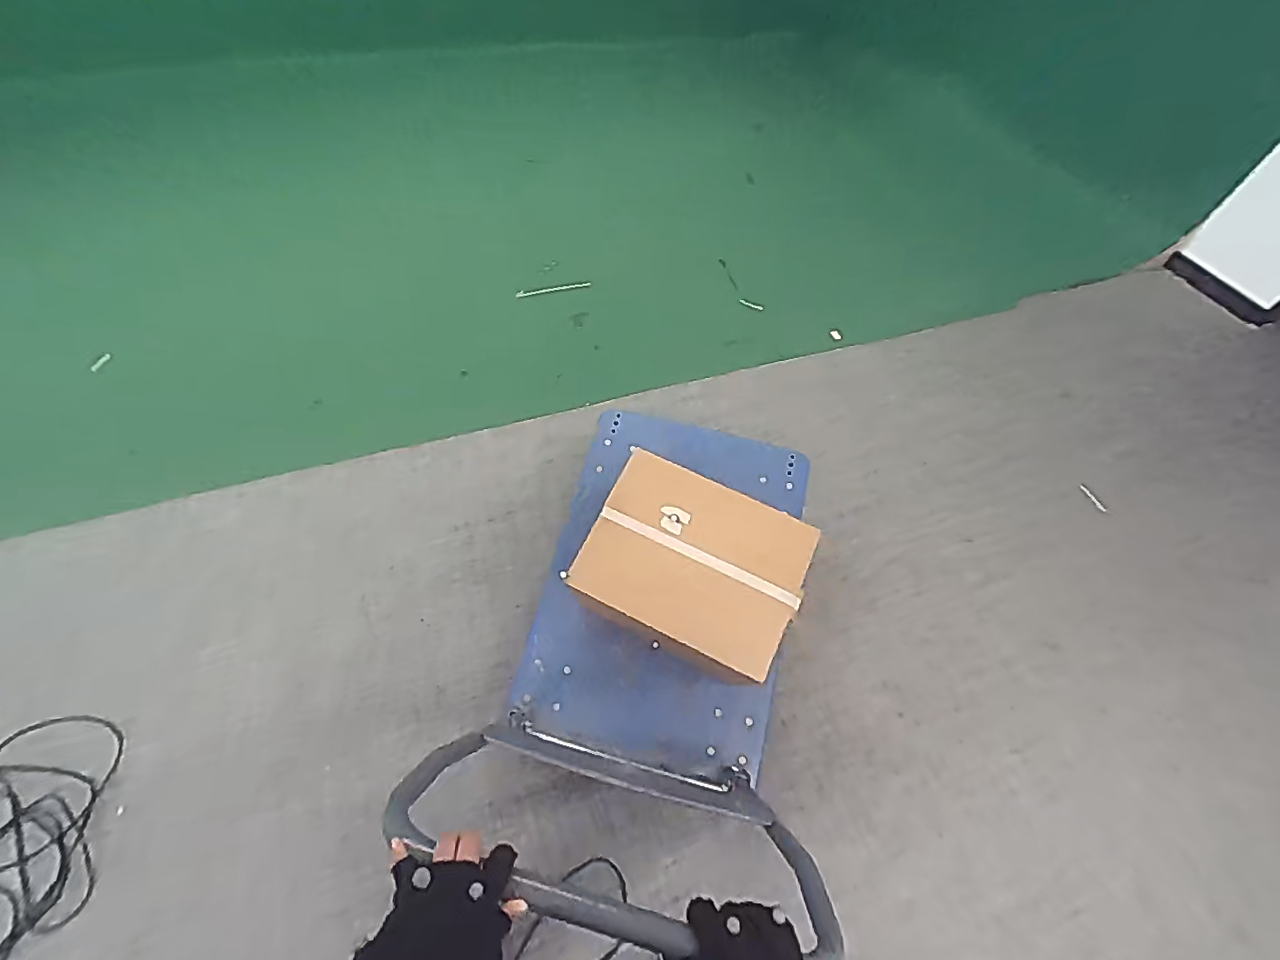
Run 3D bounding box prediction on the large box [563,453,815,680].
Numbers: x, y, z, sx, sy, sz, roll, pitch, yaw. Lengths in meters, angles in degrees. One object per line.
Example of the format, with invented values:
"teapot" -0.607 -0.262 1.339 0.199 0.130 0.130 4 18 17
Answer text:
"large box" 0.102 0.202 1.169 0.408 0.320 0.320 25 71 10
